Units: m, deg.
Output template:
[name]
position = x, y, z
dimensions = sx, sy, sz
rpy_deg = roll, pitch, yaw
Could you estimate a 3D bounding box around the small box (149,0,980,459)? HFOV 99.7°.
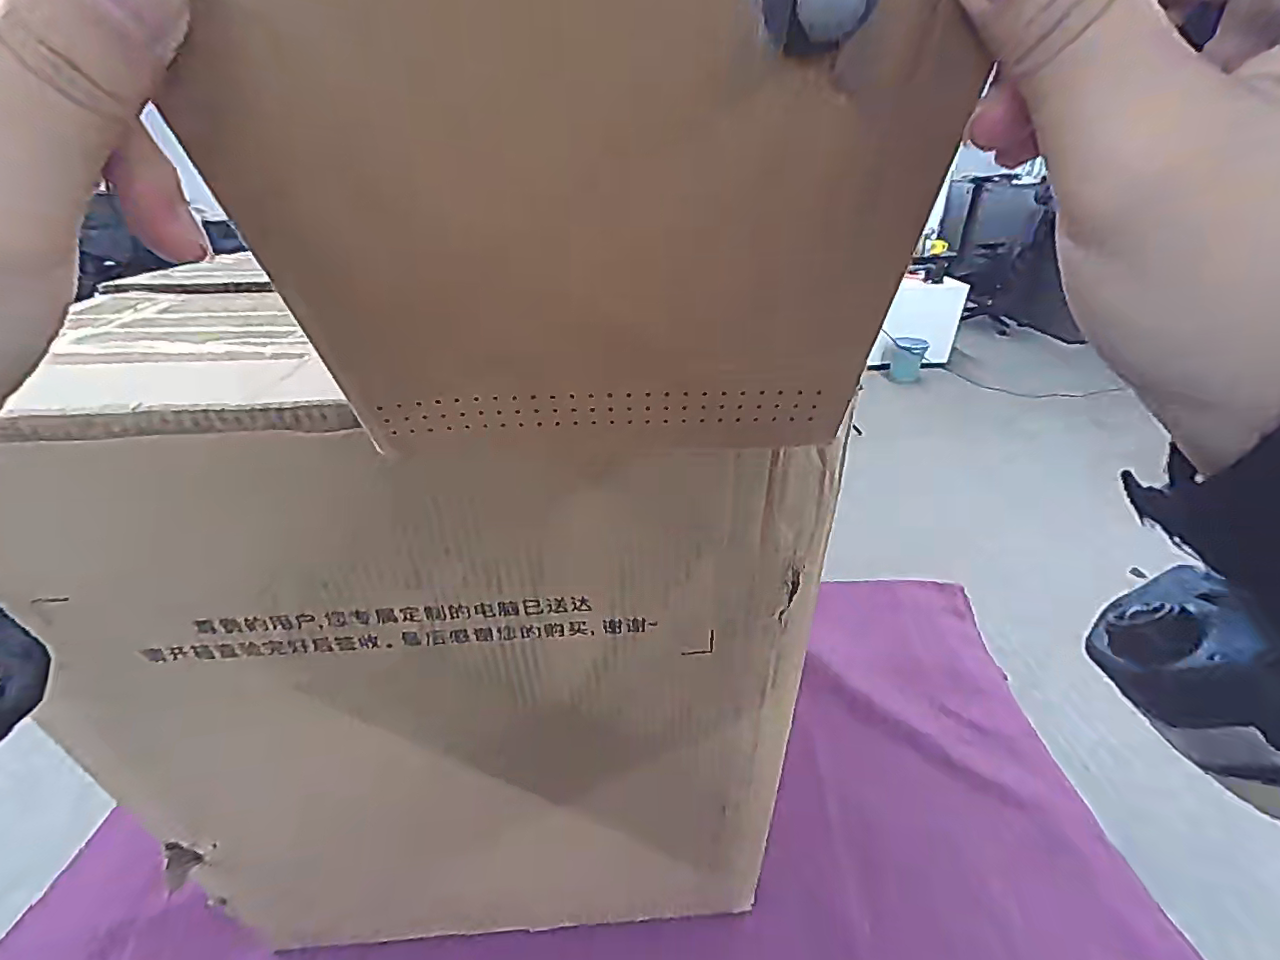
[small box]
position = -0.015, -0.119, 0.190
dimensions = 0.179, 0.176, 0.168
rpy_deg = -2, 54, -1
